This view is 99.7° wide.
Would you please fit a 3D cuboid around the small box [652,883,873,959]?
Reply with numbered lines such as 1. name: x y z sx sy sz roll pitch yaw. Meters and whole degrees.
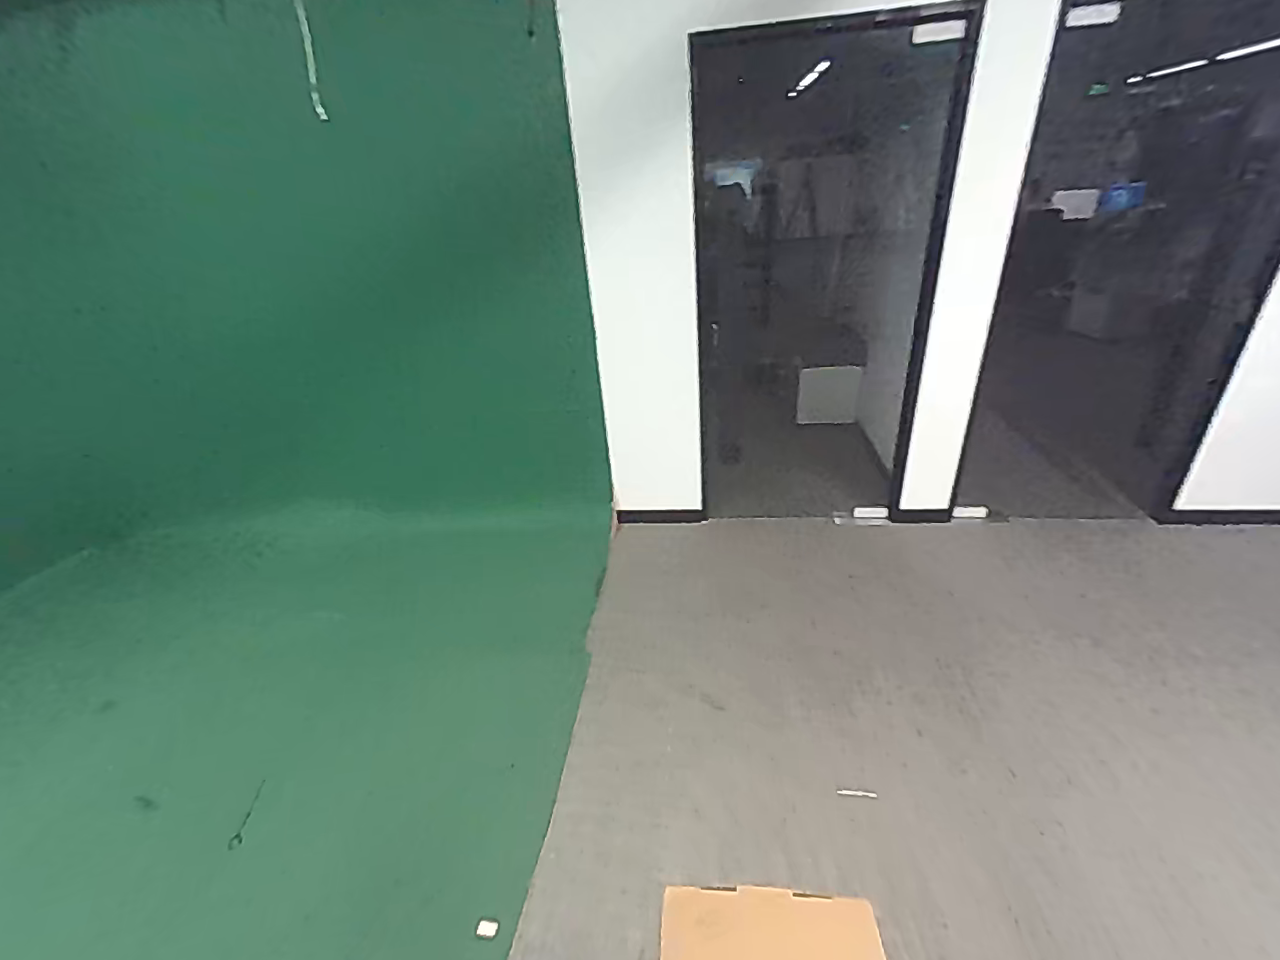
1. small box: 0.086 0.447 0.402 0.168 0.176 0.179 2 29 3
